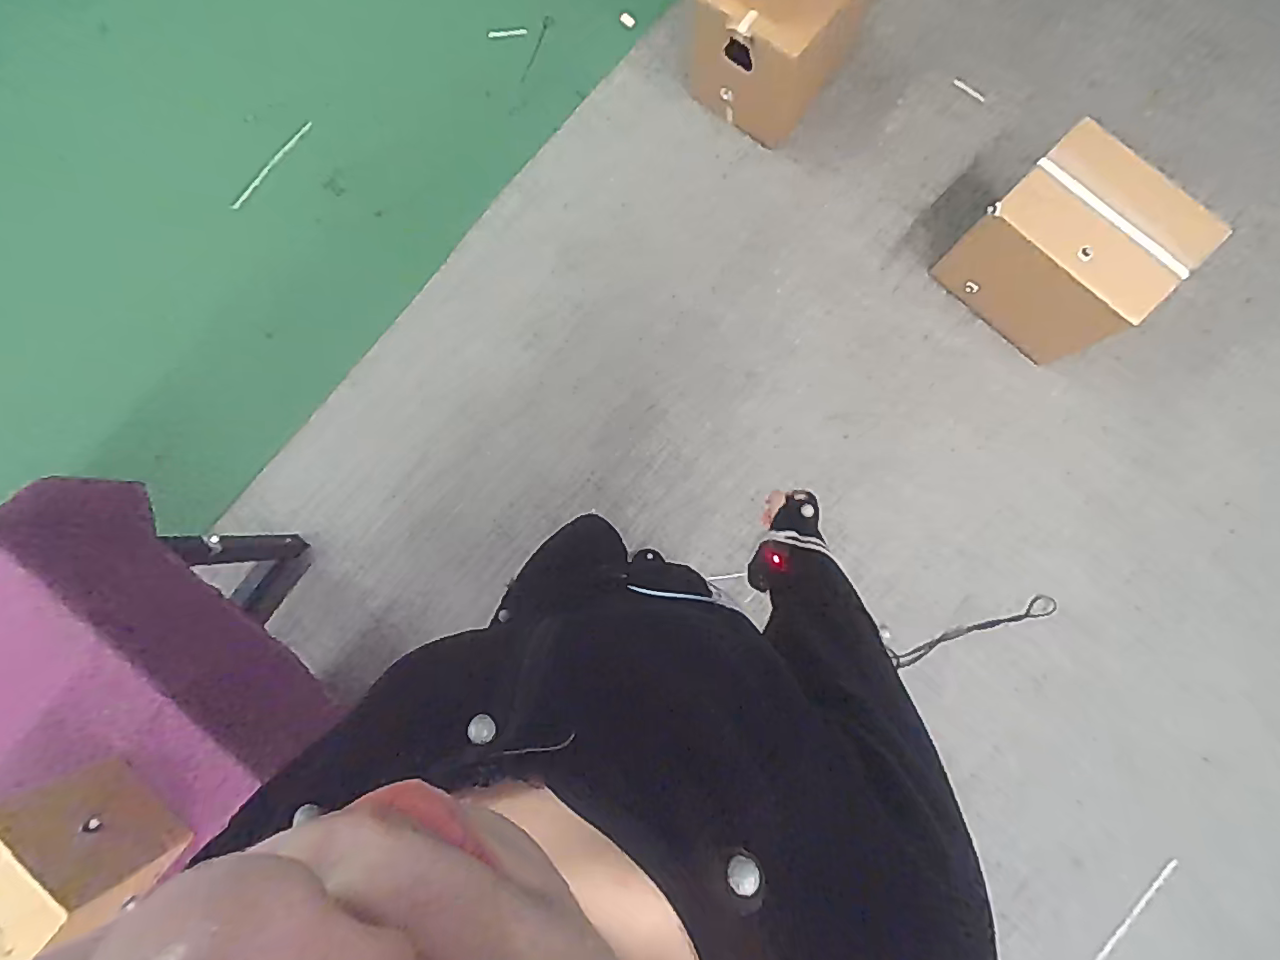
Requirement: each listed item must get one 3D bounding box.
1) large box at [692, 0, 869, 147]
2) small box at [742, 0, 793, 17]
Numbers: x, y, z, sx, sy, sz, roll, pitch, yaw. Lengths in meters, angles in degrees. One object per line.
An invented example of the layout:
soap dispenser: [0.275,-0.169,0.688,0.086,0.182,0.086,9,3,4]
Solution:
large box: [0.379,-1.230,1.464,0.320,0.320,0.408,39,87,6]
small box: [0.307,-1.210,1.222,0.179,0.176,0.168,38,87,7]
